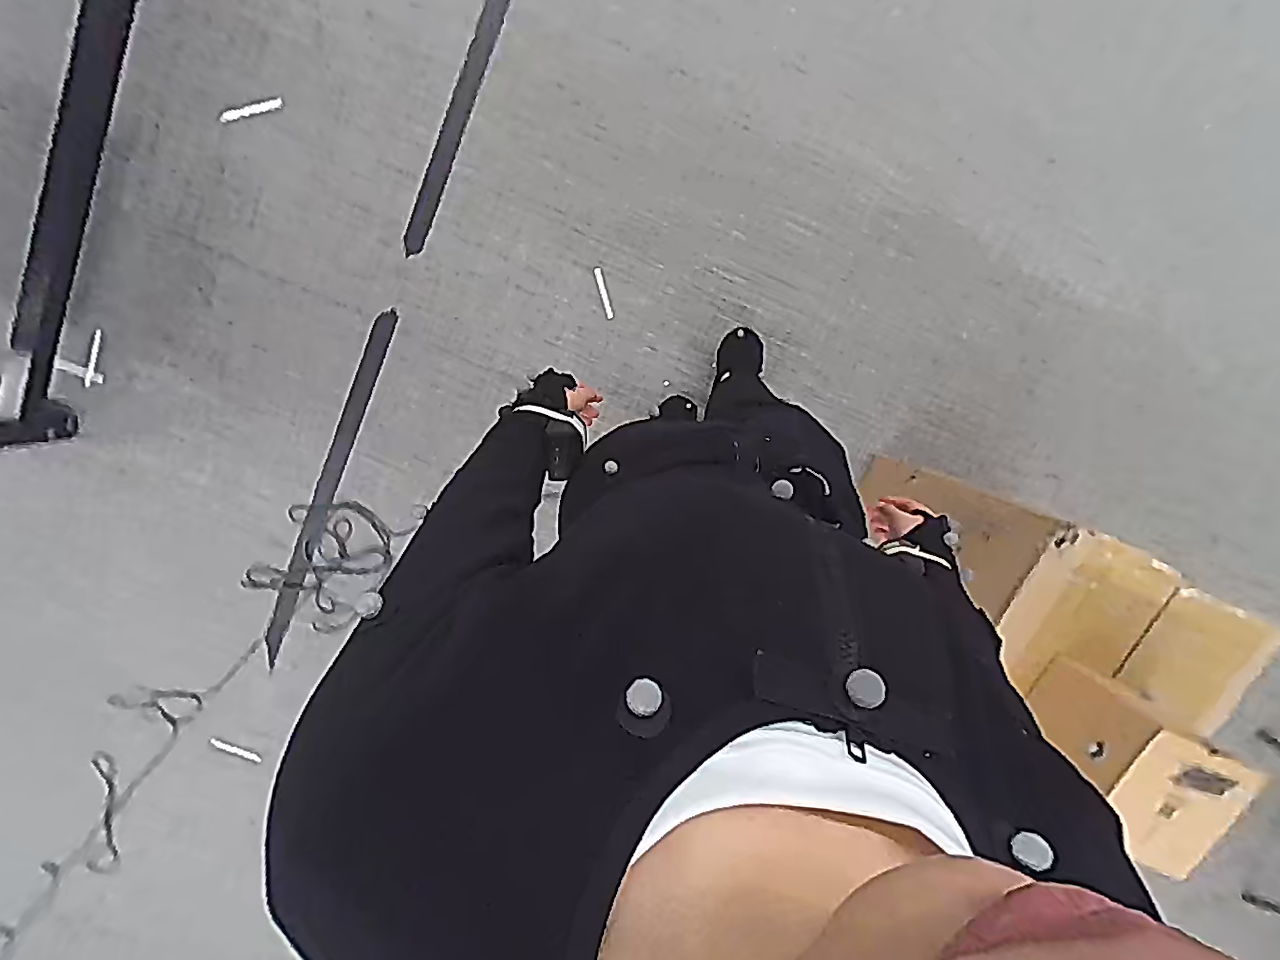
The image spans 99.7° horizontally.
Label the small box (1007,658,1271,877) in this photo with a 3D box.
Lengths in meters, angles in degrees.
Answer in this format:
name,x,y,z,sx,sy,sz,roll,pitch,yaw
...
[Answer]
name,x,y,z,sx,sy,sz,roll,pitch,yaw
small box,0.662,0.381,0.745,0.168,0.176,0.179,26,101,-5
